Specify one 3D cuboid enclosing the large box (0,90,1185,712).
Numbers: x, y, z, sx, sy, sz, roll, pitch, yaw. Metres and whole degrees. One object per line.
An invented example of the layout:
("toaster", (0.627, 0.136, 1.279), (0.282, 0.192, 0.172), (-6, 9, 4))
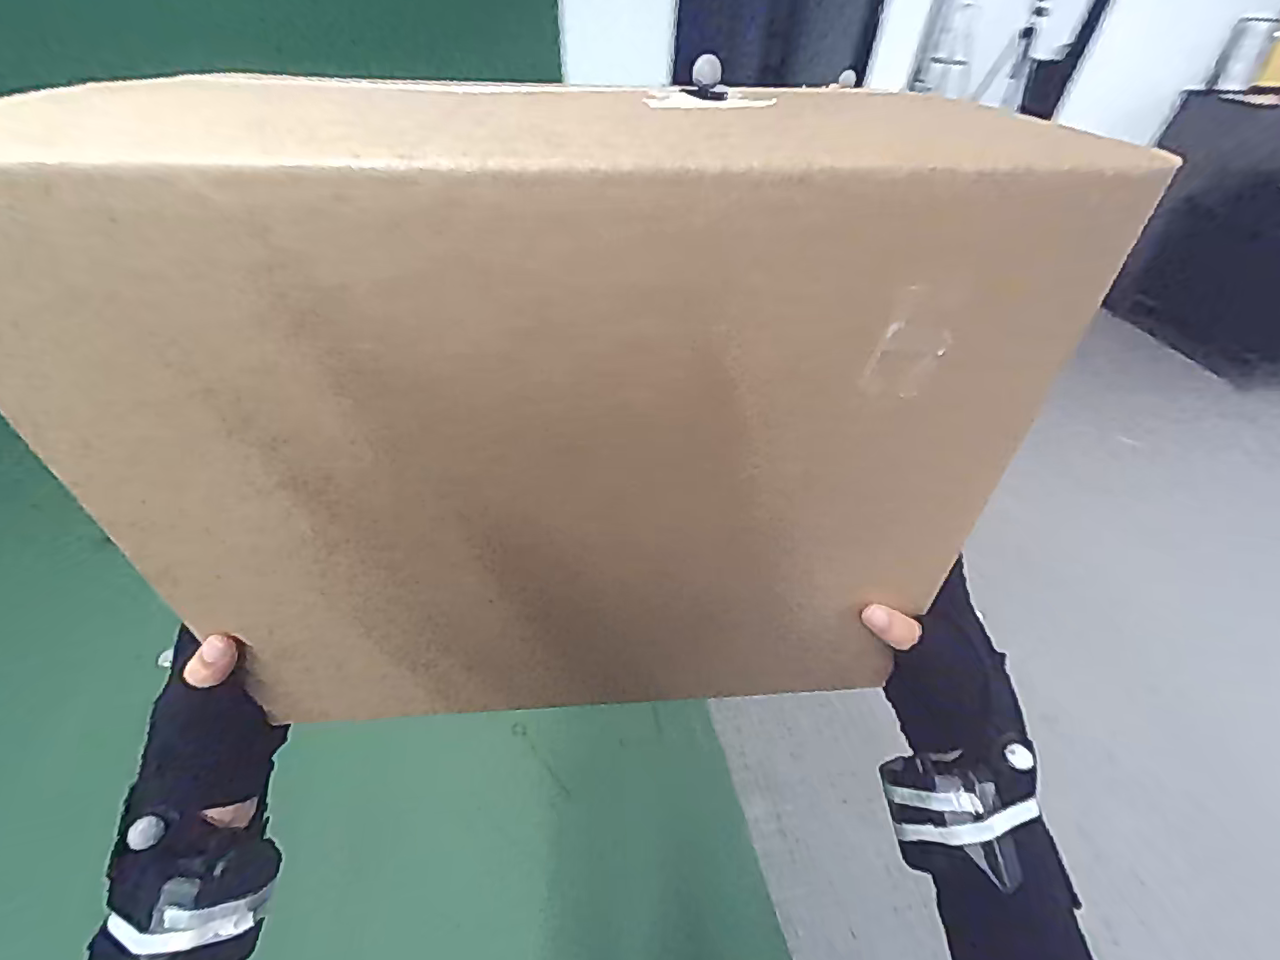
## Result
("large box", (-0.023, -0.066, 0.378), (0.408, 0.320, 0.320), (0, 39, -5))
